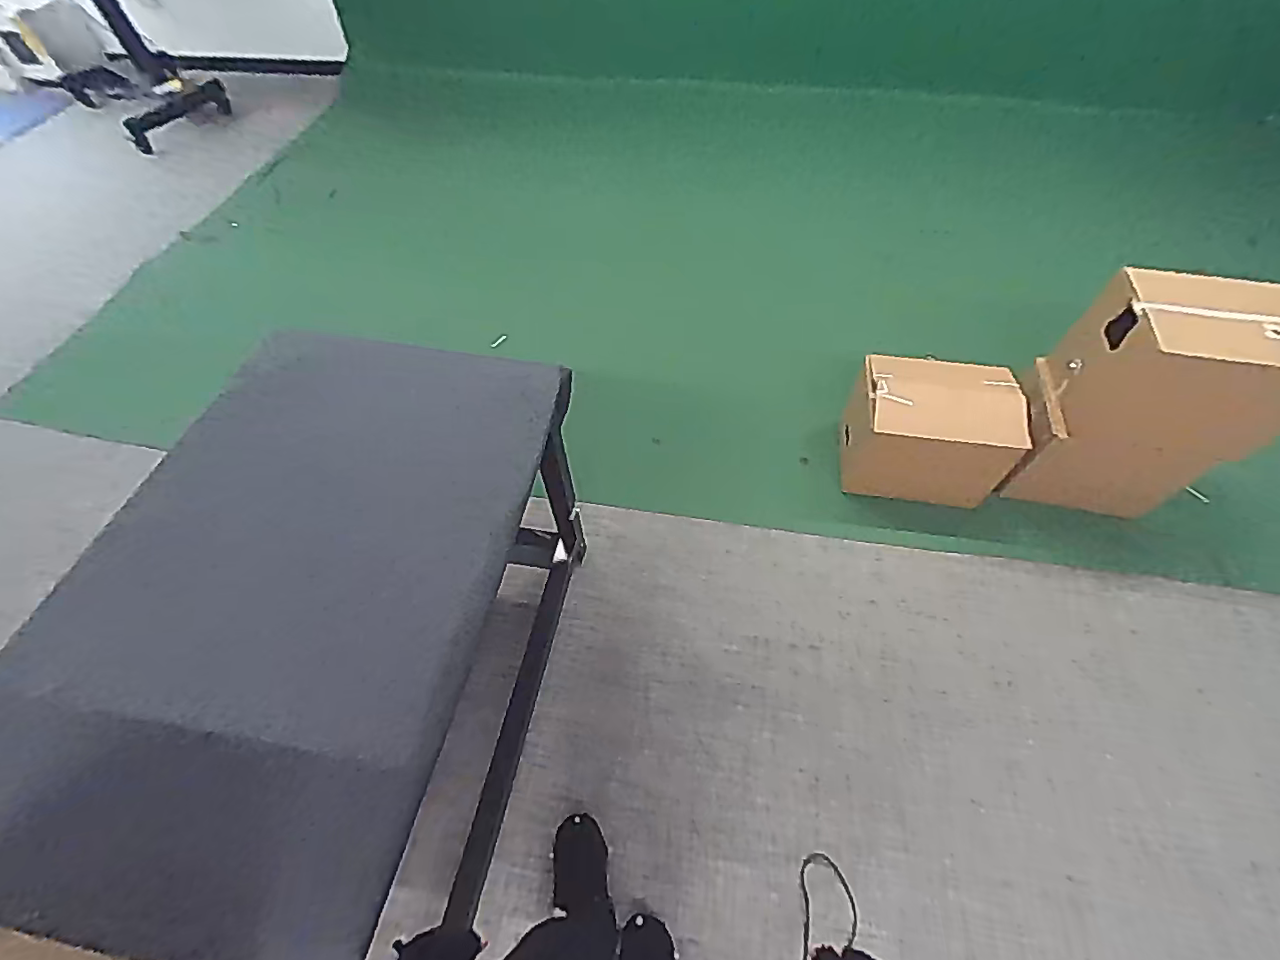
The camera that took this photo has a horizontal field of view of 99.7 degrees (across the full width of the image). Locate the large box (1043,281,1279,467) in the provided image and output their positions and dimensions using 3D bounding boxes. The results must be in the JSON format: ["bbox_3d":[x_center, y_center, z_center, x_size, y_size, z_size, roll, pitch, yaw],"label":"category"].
[{"bbox_3d":[1.354,-0.265,1.374,0.408,0.320,0.320,10,57,7],"label":"large box"}]
